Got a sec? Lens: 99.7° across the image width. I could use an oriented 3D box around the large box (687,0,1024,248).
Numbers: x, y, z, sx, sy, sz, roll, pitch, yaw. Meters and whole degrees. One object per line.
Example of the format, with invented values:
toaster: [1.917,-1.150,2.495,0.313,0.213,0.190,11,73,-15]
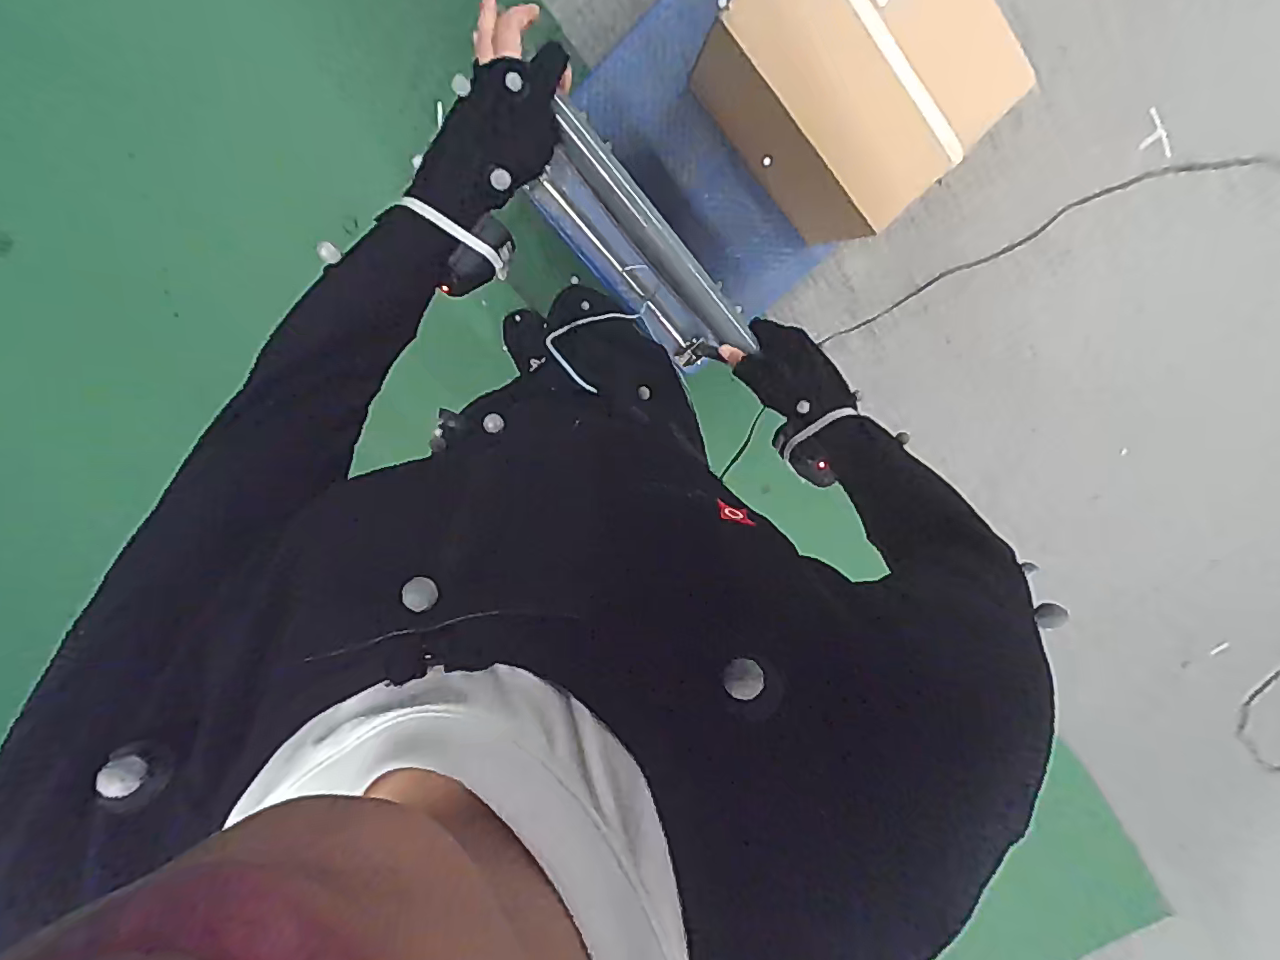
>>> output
large box: [0.339,-0.677,0.946,0.320,0.320,0.408,-43,106,10]
